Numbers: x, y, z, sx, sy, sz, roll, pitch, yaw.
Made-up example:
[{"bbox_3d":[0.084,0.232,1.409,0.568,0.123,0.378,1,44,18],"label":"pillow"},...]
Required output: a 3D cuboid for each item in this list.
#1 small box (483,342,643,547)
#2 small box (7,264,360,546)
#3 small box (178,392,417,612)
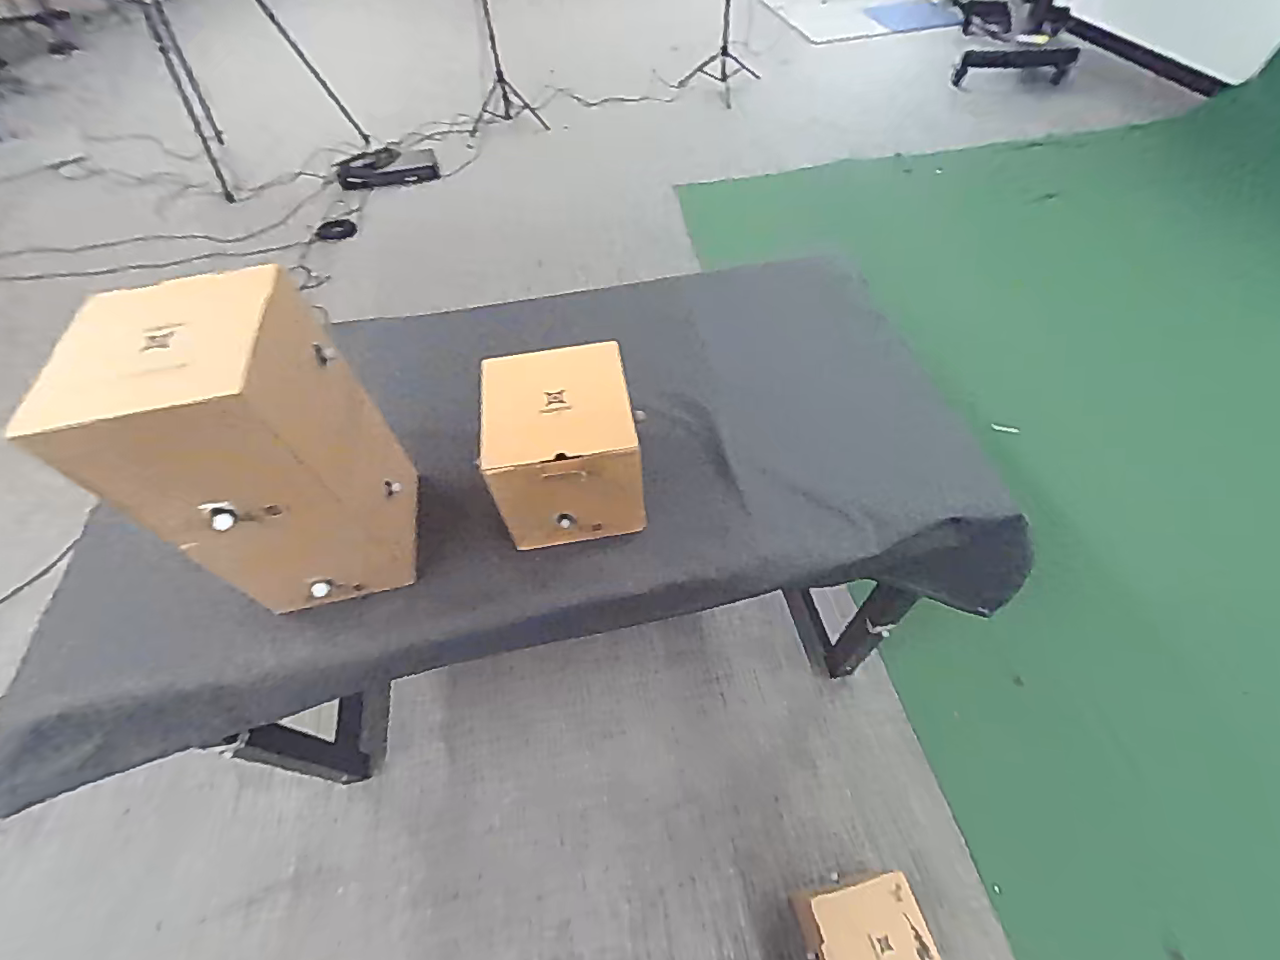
[{"bbox_3d":[-0.091,-0.042,0.669,0.168,0.176,0.179,-10,54,-4],"label":"small box"},{"bbox_3d":[-0.382,-0.066,0.500,0.168,0.176,0.179,-13,55,-5],"label":"small box"},{"bbox_3d":[-0.374,0.029,0.632,0.168,0.176,0.179,-12,55,-6],"label":"small box"}]
